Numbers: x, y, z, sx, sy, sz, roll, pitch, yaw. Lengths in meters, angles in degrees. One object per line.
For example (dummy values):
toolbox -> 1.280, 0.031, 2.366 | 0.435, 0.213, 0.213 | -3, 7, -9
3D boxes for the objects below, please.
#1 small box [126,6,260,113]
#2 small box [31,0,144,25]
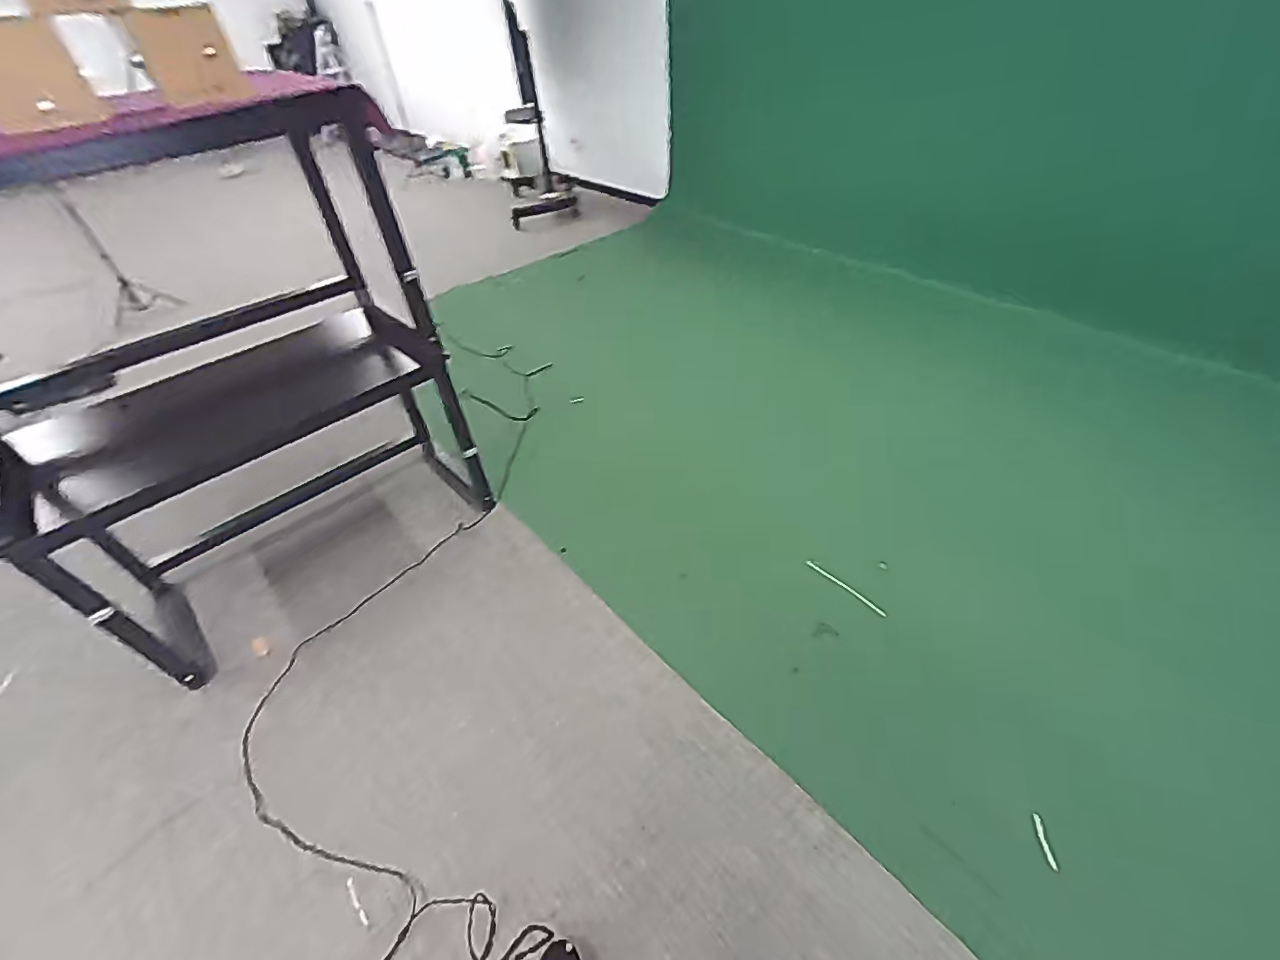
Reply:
small box -> -0.975, -0.921, 1.189 | 0.168, 0.176, 0.179 | -30, 47, -25
small box -> -1.086, -0.980, 1.019 | 0.168, 0.176, 0.179 | -30, 48, -26
